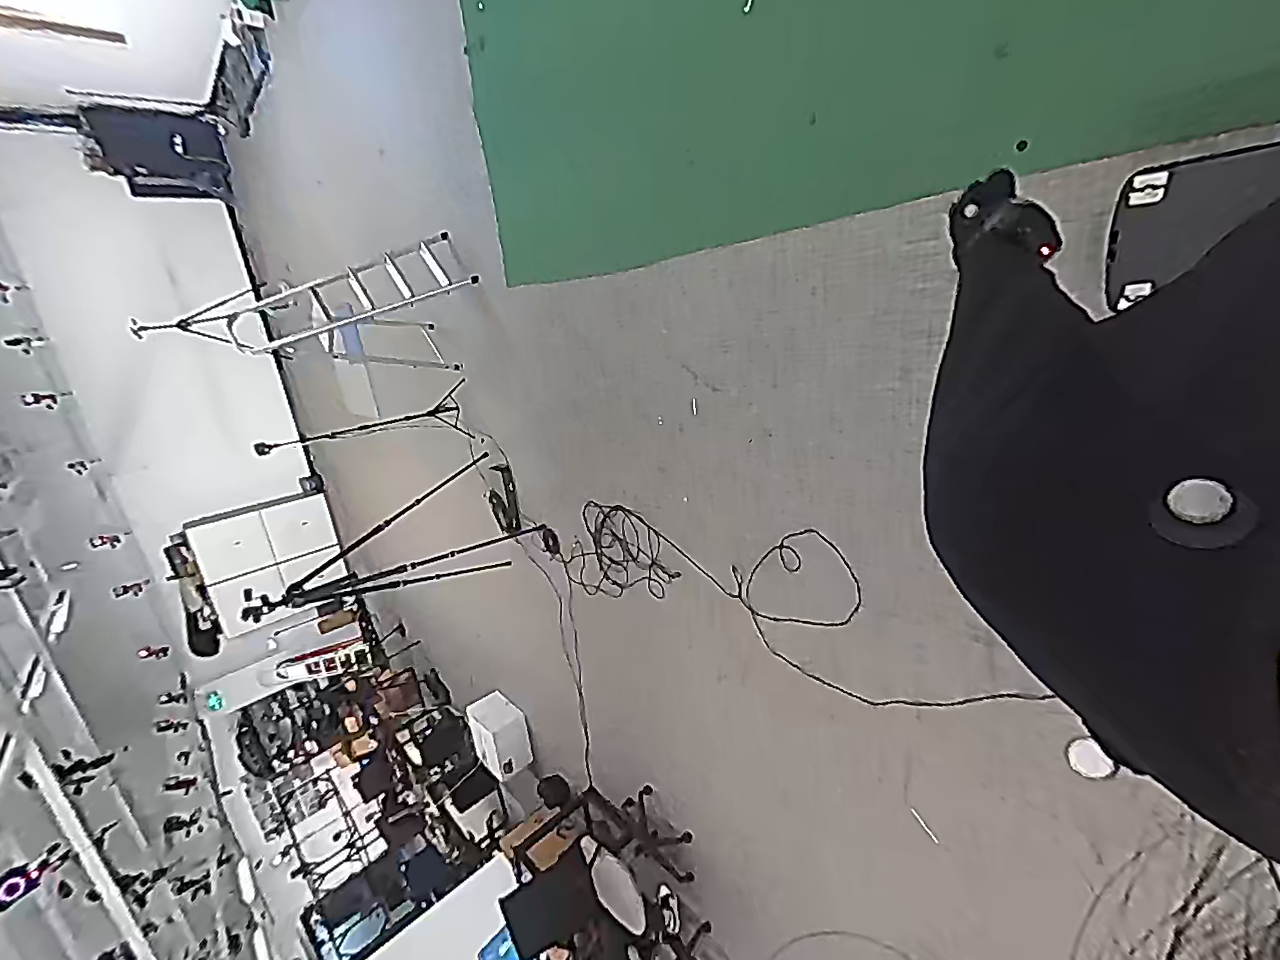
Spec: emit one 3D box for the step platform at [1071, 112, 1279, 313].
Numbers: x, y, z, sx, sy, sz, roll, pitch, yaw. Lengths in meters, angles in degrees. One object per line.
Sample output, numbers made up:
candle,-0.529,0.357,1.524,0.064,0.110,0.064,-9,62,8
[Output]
step platform,1.084,-0.431,0.795,0.684,0.204,0.286,11,115,47
